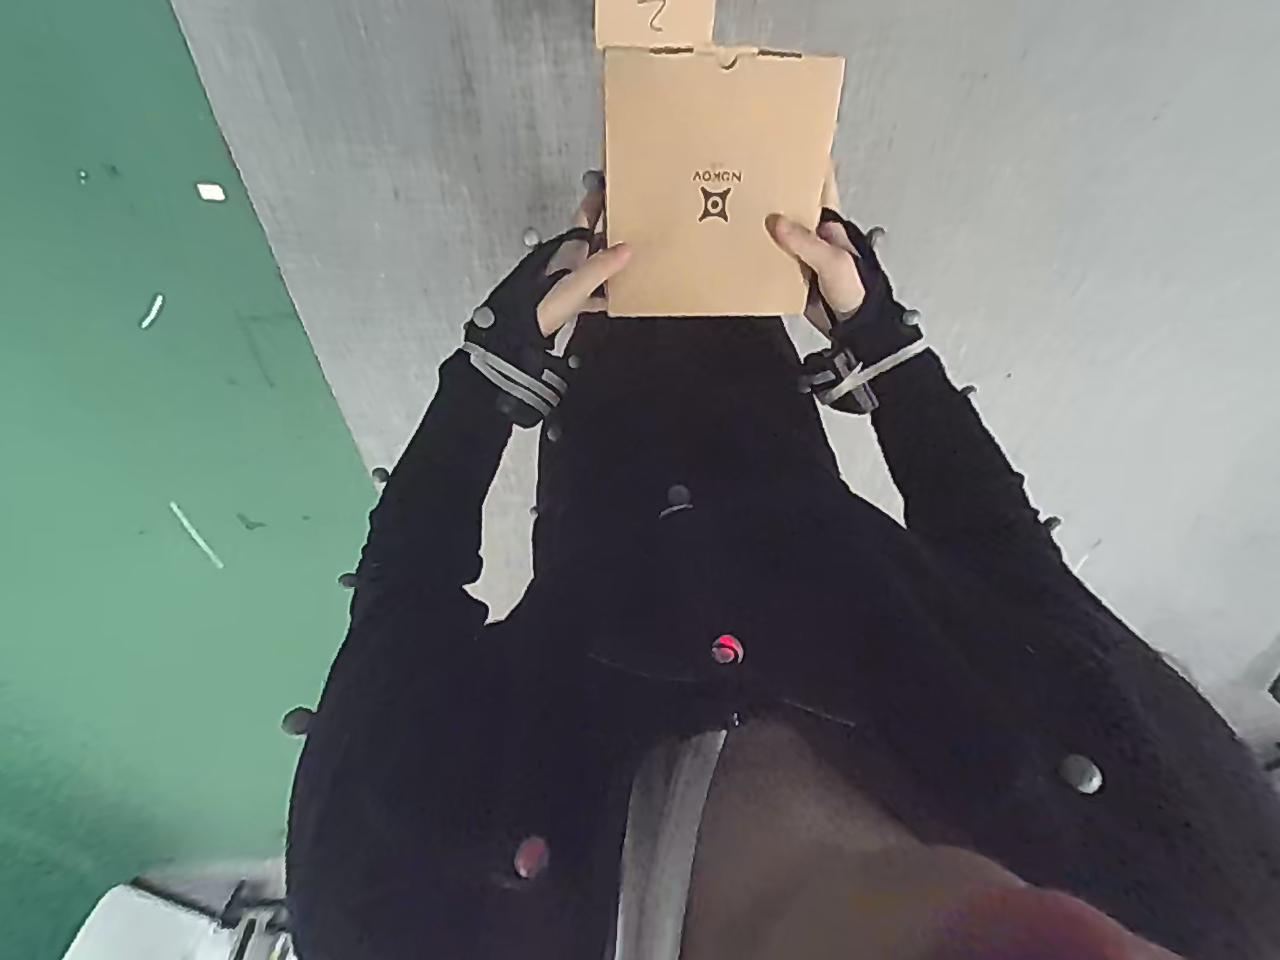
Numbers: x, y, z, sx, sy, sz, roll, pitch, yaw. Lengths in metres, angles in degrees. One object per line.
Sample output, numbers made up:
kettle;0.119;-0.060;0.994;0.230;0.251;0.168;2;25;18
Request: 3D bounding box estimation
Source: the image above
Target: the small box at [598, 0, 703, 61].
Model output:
small box;0.020;-0.823;0.898;0.168;0.176;0.179;3;130;-6
